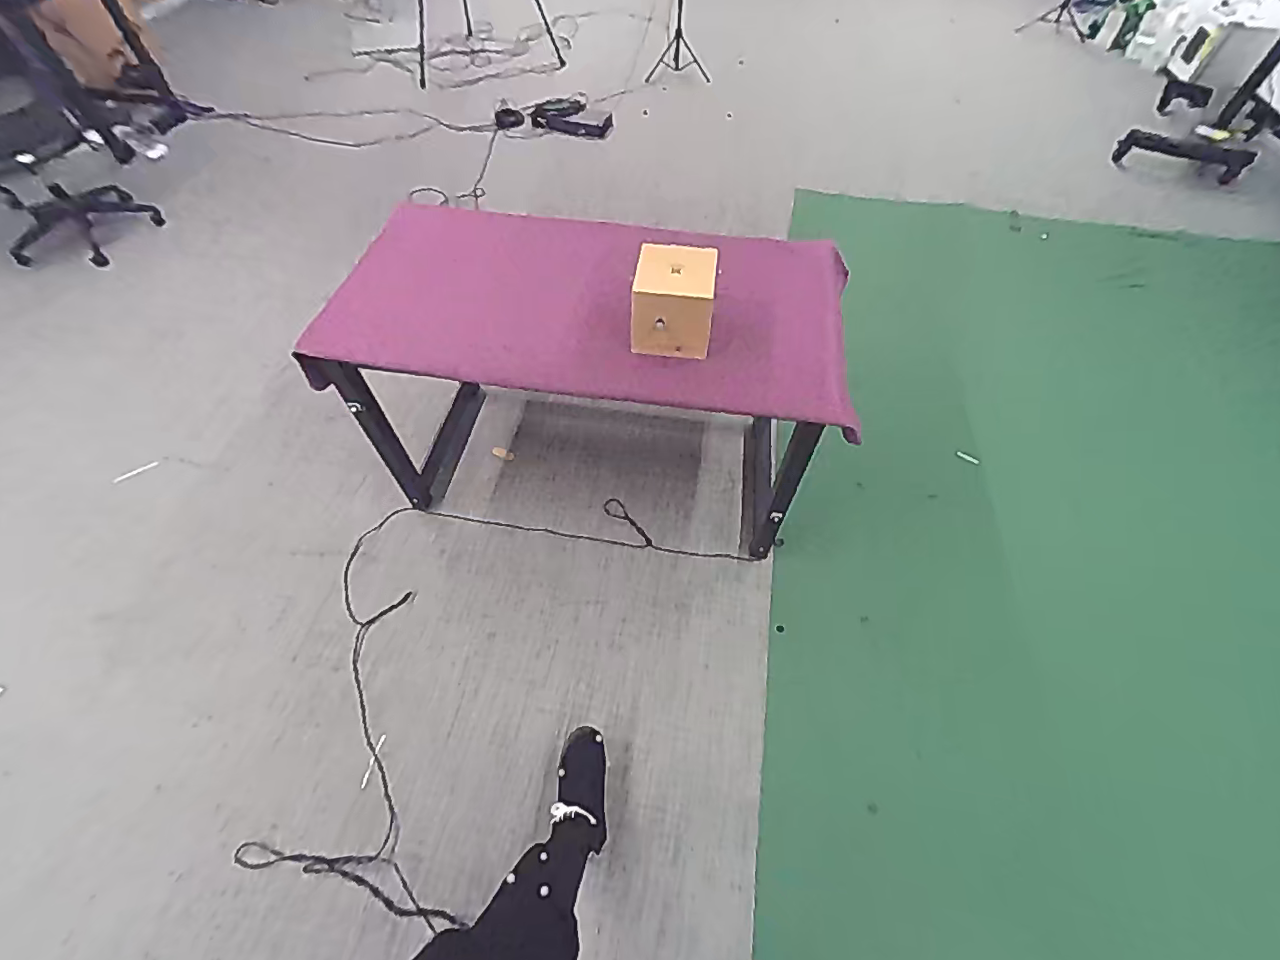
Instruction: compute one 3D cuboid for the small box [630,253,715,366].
[{"bbox_3d":[0.072,-0.372,1.189,0.168,0.176,0.179,6,54,4],"label":"small box"}]
